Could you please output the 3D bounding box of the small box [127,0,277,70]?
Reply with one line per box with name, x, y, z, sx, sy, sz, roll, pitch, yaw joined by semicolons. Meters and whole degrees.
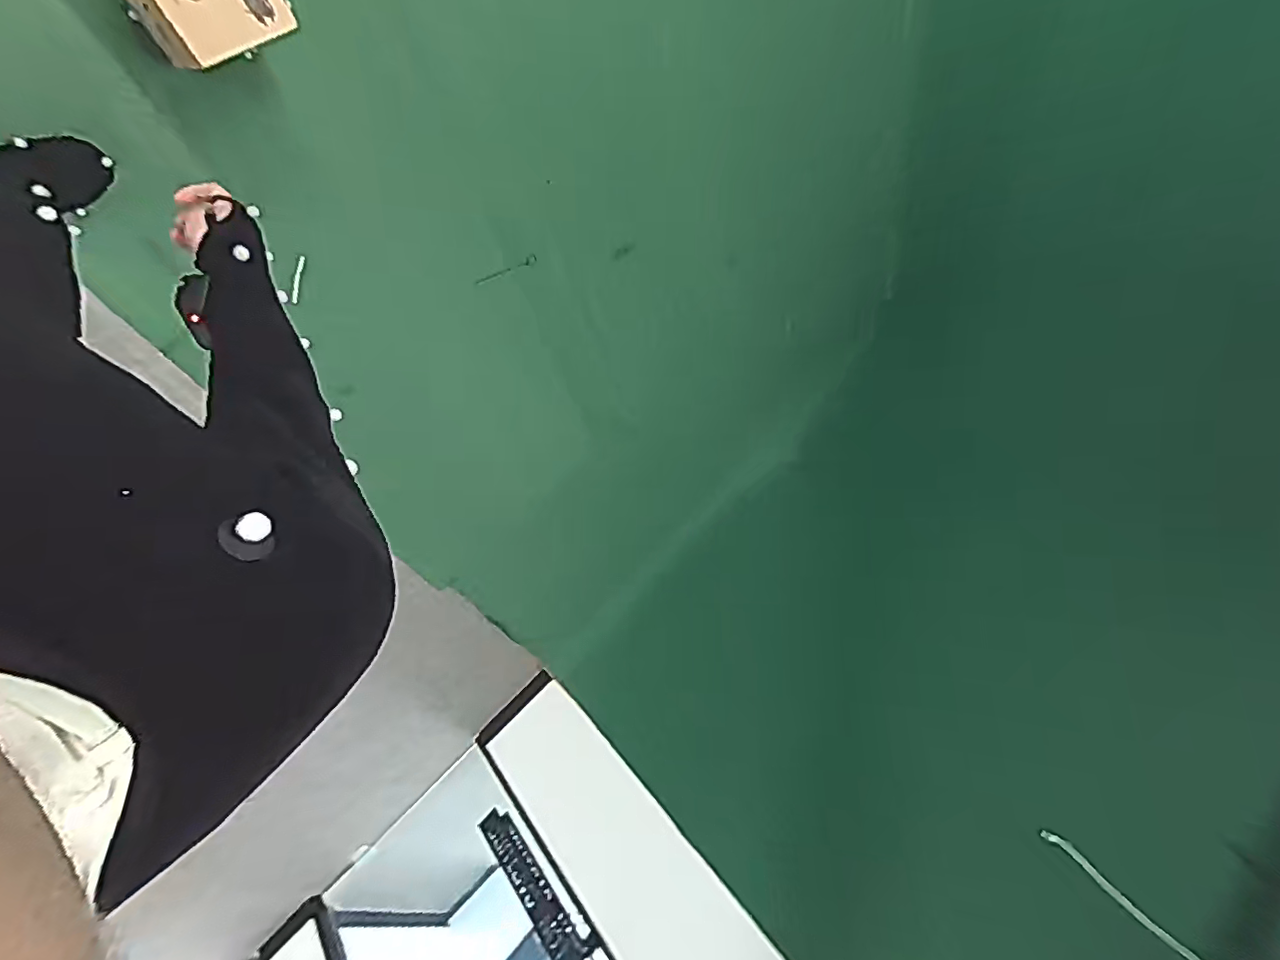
small box;-0.816;-0.876;0.982;0.179;0.176;0.168;-40;140;-17
